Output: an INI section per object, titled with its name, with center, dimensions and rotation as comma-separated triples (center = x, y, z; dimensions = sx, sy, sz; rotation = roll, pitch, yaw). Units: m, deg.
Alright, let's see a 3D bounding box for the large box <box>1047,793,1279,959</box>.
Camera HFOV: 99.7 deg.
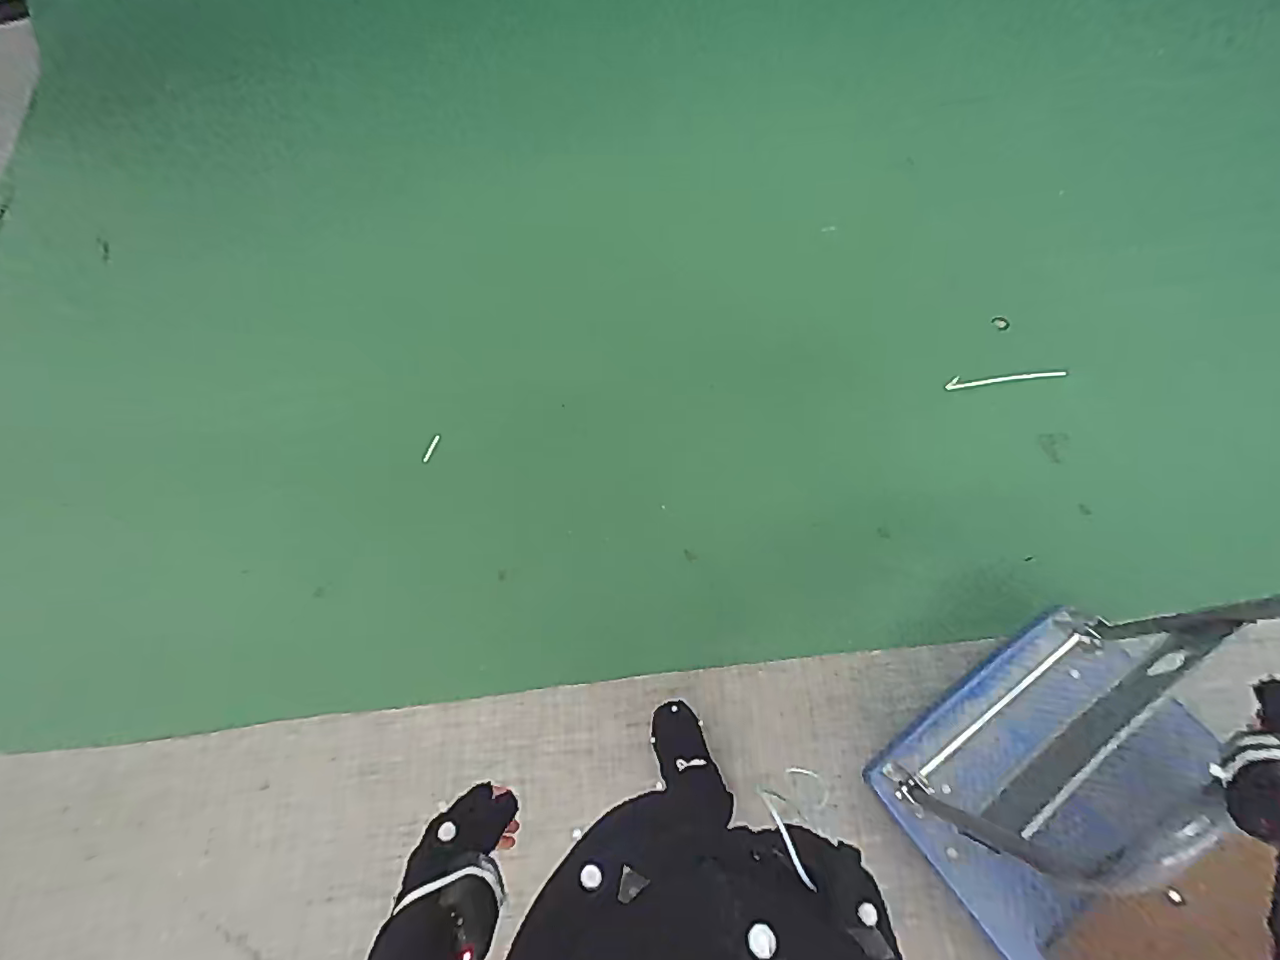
[large box]
center = 0.927, 0.752, 0.782
dimensions = 0.408, 0.320, 0.320
rotation = -39, 73, -10
